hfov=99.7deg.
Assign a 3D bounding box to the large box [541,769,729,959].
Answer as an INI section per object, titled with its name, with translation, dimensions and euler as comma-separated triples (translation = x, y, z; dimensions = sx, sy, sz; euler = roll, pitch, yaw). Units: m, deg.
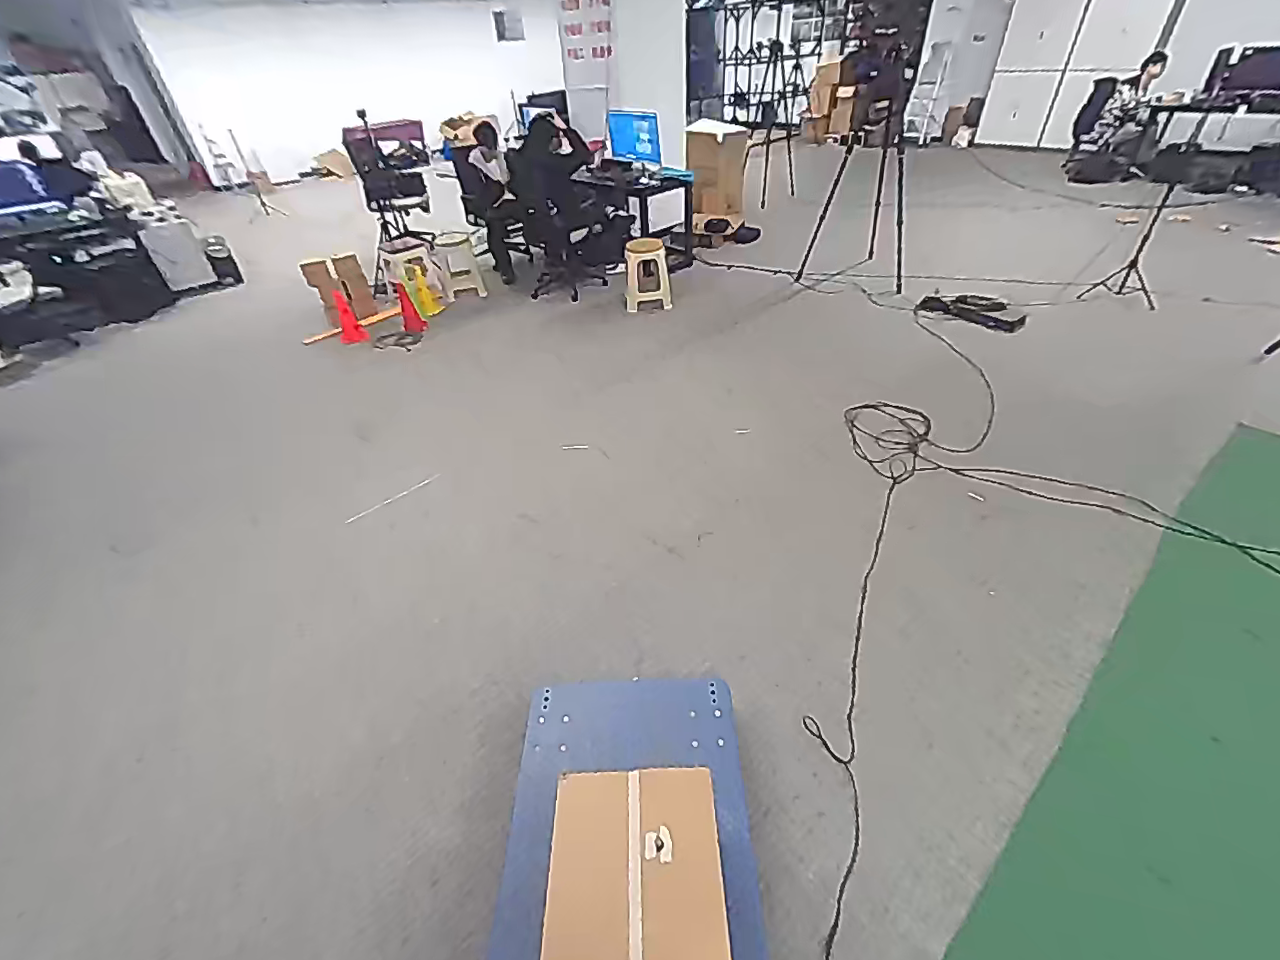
[large box]
translation = -0.002, 0.851, 1.062
dimensions = 0.320, 0.320, 0.408
euler = -3, 38, 1
